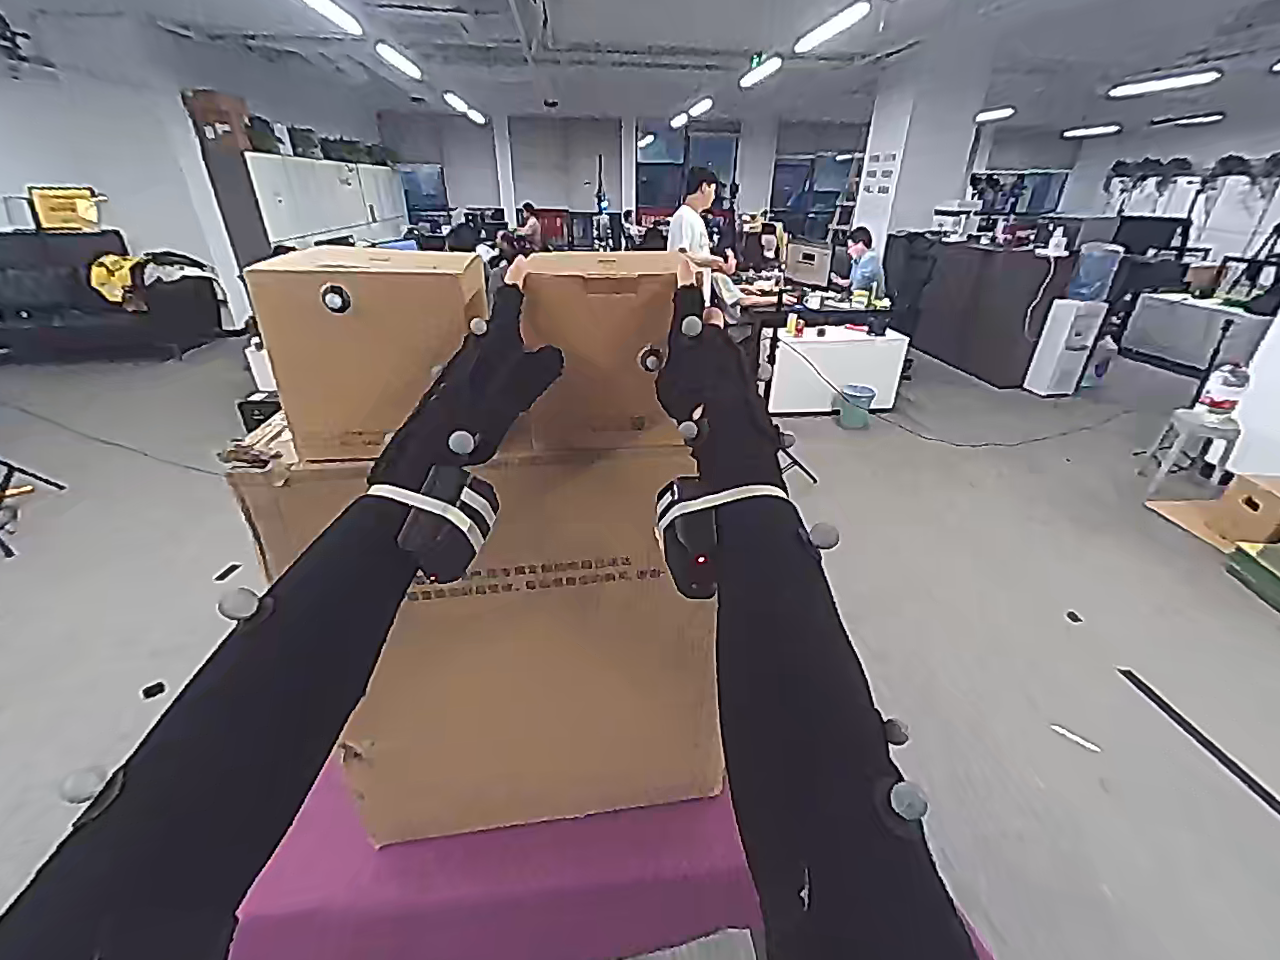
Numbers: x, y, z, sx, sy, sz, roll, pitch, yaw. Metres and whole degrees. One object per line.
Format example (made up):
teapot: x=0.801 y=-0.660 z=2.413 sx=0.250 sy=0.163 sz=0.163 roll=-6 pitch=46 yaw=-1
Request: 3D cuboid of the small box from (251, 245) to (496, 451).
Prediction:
small box: x=-0.239 y=-0.137 z=0.539 sx=0.168 sy=0.176 sz=0.179 roll=-3 pitch=27 yaw=-8

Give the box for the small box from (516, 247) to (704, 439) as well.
small box: x=-0.030 y=-0.148 z=0.569 sx=0.168 sy=0.176 sz=0.179 roll=-1 pitch=27 yaw=-5
